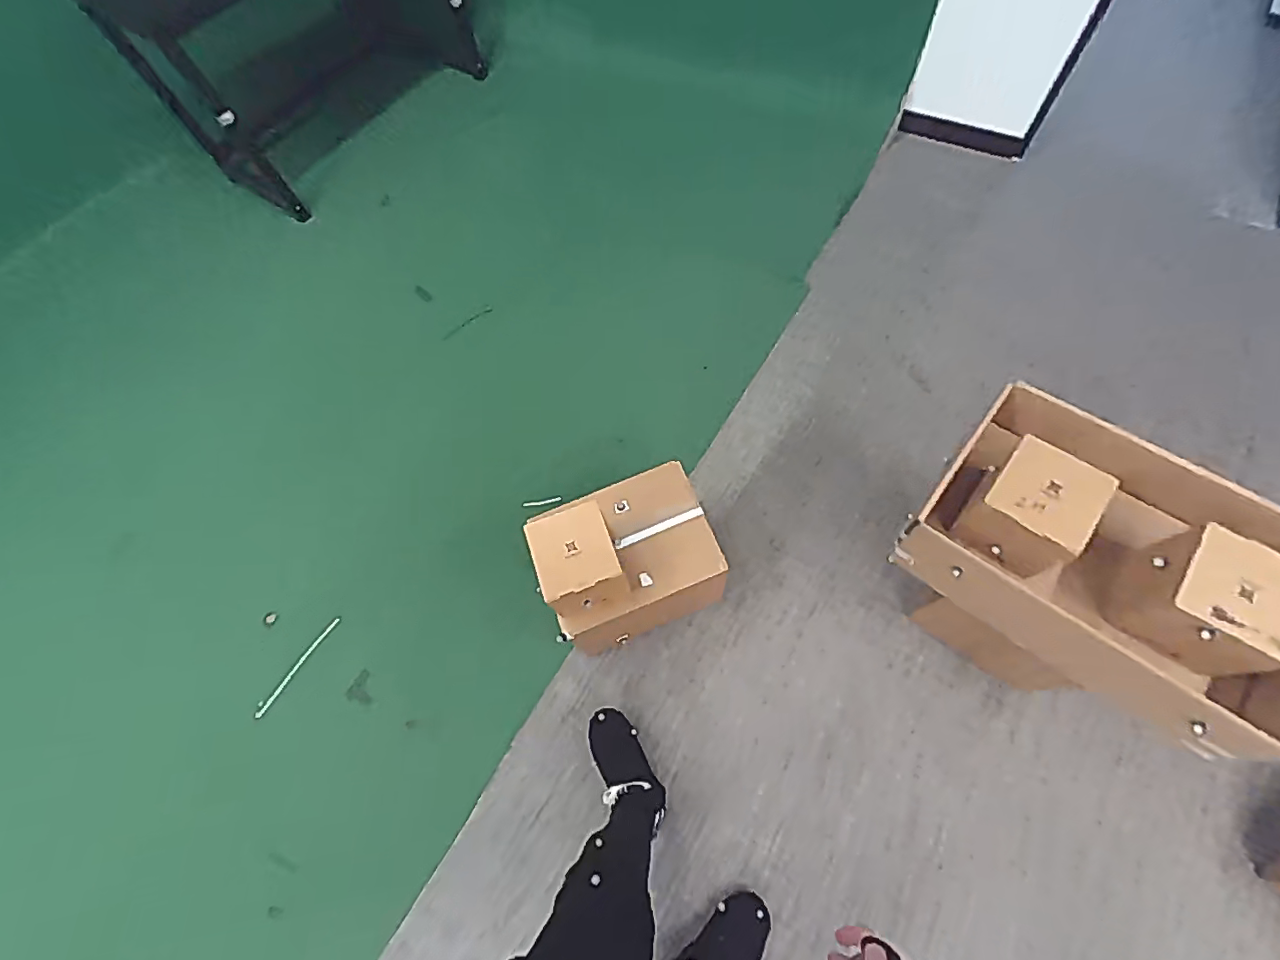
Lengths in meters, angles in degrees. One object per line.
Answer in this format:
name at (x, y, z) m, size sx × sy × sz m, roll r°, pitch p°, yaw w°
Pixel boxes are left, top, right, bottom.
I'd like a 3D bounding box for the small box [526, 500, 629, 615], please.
small box at (-0.131, 0.173, 1.172) m, size 0.168 × 0.176 × 0.179 m, roll -20°, pitch 67°, yaw -5°
